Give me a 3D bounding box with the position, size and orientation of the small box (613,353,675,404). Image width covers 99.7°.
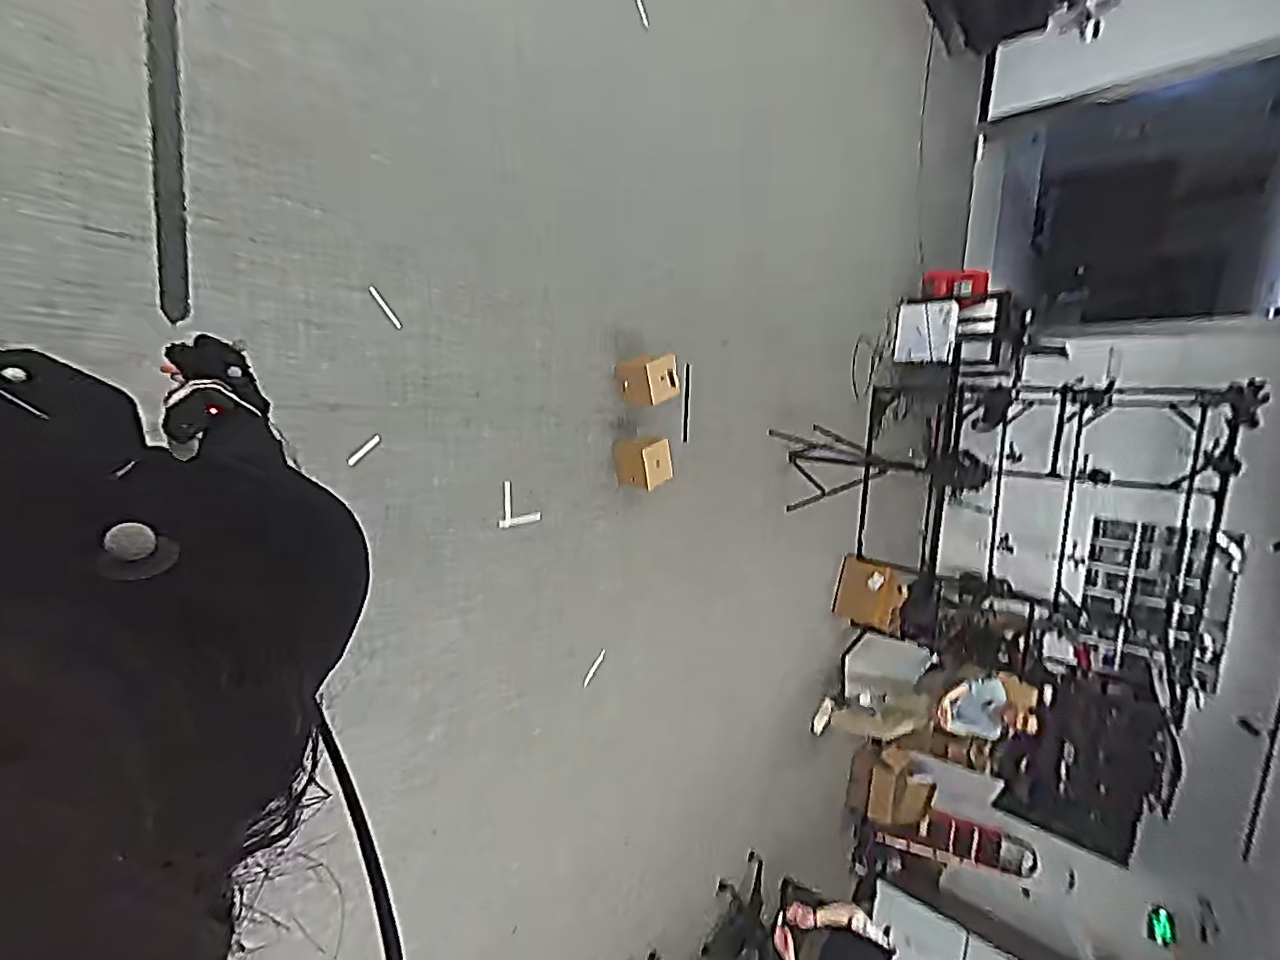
[{"bbox_3d":[0.015,-0.413,2.183,0.179,0.176,0.168,-31,119,-41],"label":"small box"}]

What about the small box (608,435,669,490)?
[{"bbox_3d":[-0.007,-0.075,2.224,0.168,0.176,0.179,-31,118,-42],"label":"small box"}]
